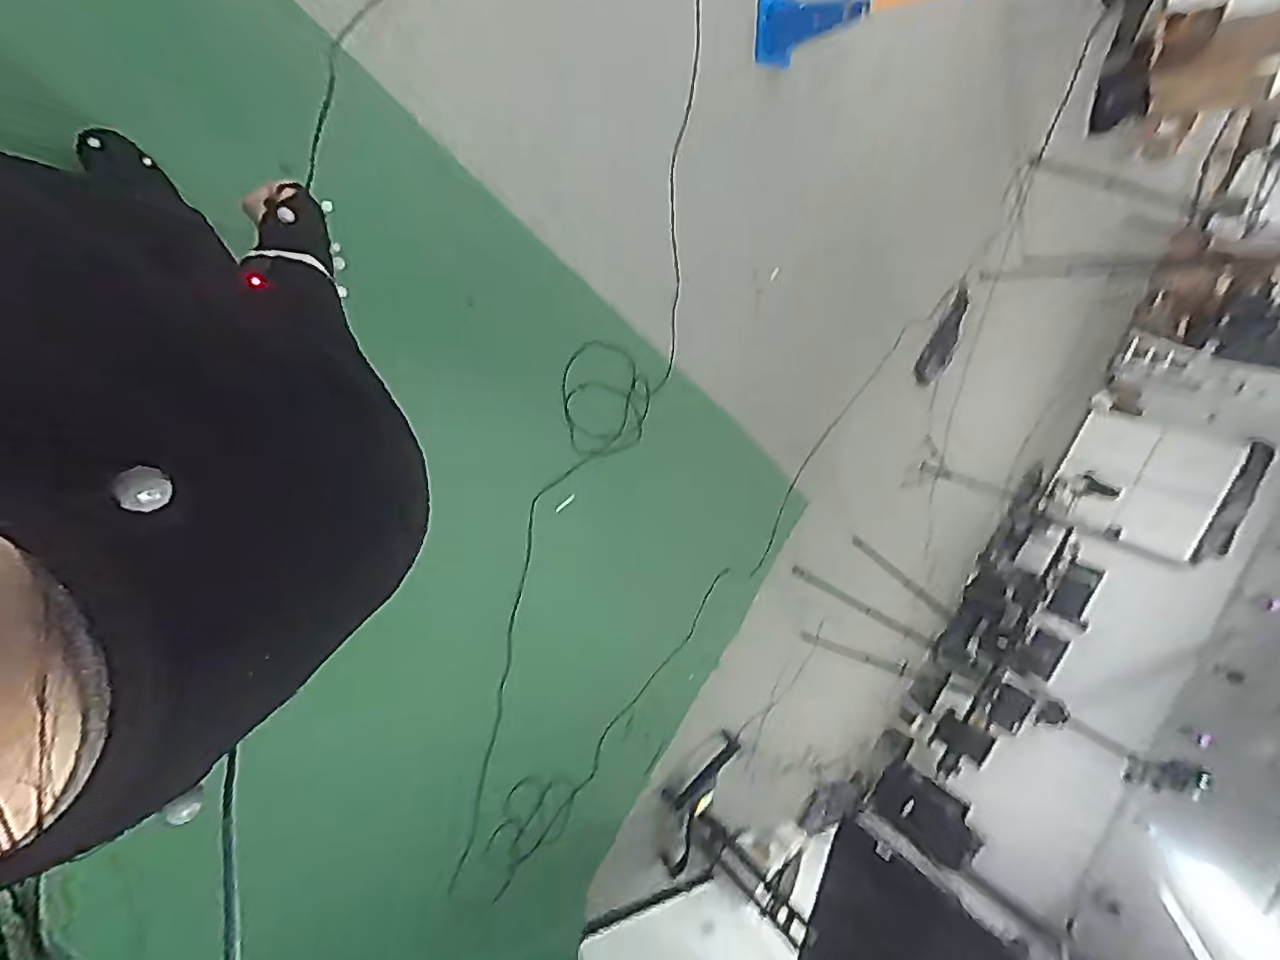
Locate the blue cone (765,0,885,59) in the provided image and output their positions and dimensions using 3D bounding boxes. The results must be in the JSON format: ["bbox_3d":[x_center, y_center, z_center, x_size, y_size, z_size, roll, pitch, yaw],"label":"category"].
[{"bbox_3d":[0.598,-1.503,1.732,0.193,0.380,0.192,-27,127,-34],"label":"blue cone"}]
